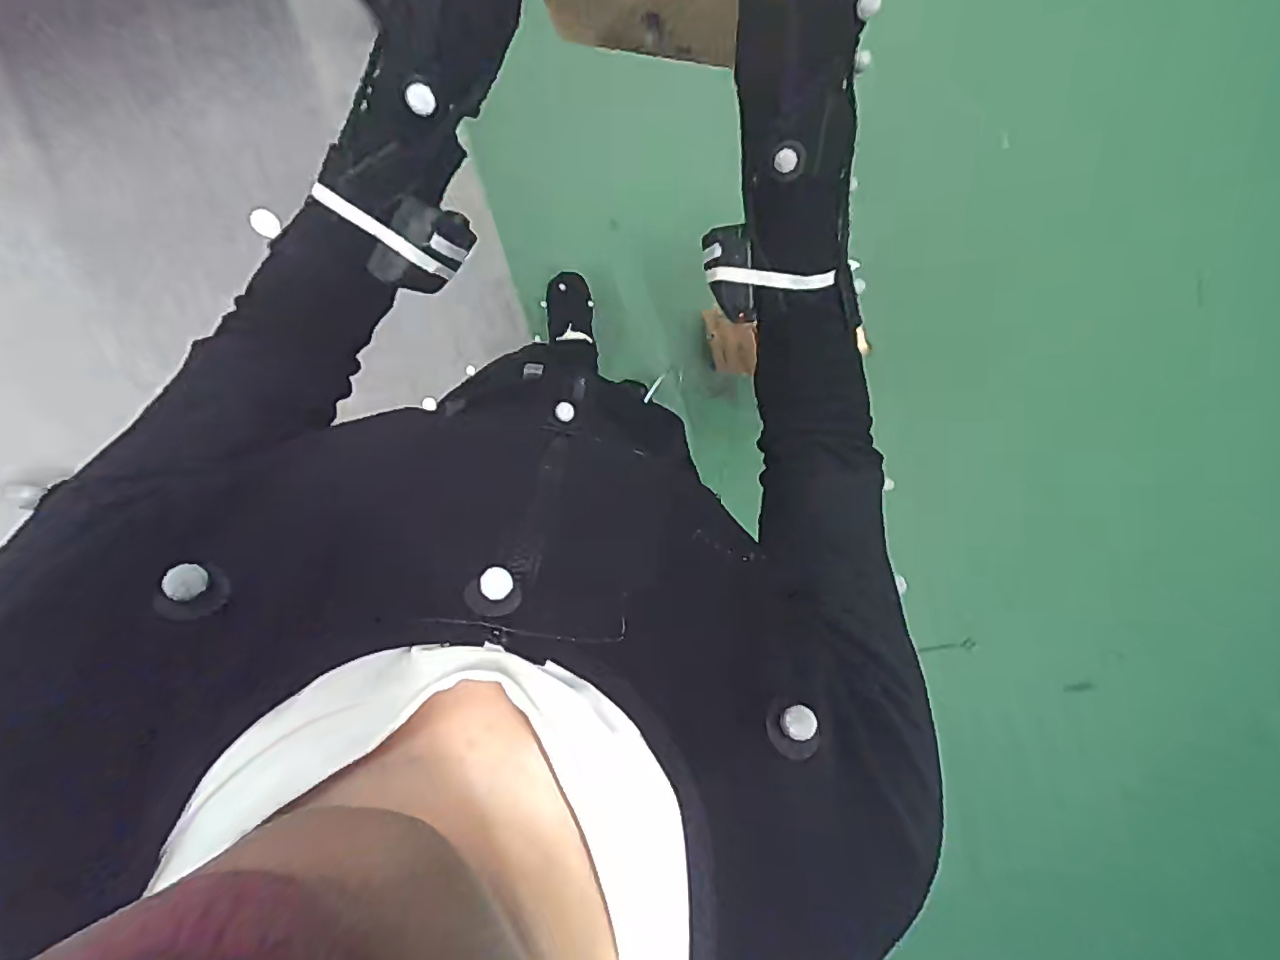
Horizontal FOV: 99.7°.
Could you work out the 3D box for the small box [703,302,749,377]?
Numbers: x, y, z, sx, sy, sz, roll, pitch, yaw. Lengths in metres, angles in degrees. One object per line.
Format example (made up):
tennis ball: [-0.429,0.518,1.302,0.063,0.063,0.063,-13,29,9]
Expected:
small box: [0.265,-0.358,1.331,0.179,0.176,0.168,-14,103,3]

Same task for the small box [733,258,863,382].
small box: [0.282,-0.290,1.009,0.179,0.176,0.168,-19,103,2]
